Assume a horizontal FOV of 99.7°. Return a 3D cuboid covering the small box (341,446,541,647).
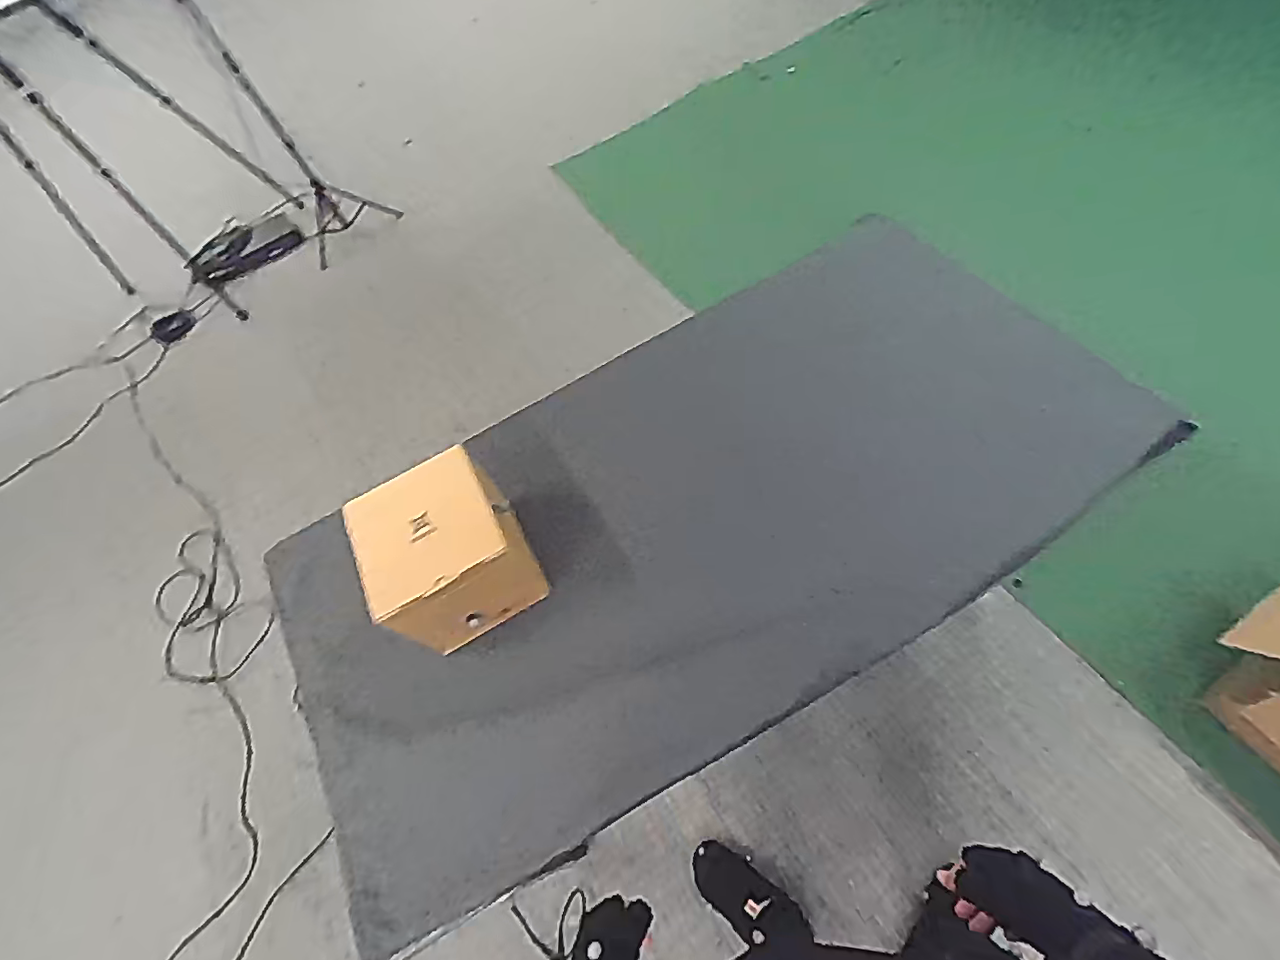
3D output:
[{"bbox_3d":[-0.255,0.093,0.717,0.168,0.176,0.179,-30,61,-7],"label":"small box"}]
